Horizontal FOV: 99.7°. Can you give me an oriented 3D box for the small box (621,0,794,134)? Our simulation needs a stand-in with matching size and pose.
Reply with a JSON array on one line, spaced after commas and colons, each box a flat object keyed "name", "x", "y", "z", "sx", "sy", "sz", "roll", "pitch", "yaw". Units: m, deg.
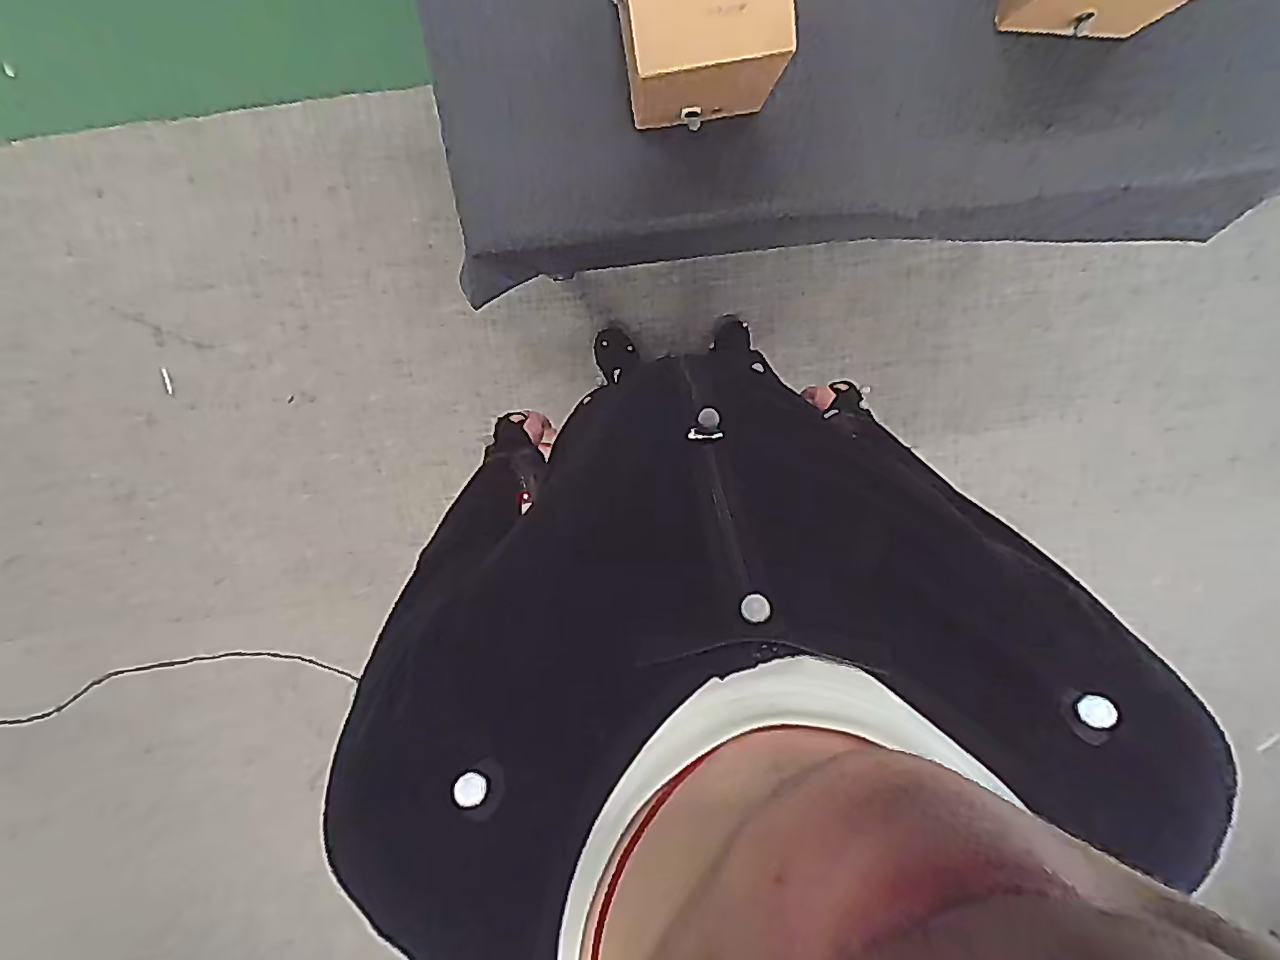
[{"name": "small box", "x": 0.064, "y": -0.517, "z": 0.598, "sx": 0.168, "sy": 0.176, "sz": 0.179, "roll": -7, "pitch": 106, "yaw": 3}]

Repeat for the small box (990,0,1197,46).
[{"name": "small box", "x": 0.537, "y": -0.616, "z": 0.596, "sx": 0.179, "sy": 0.176, "sz": 0.168, "roll": 2, "pitch": 106, "yaw": -2}]
